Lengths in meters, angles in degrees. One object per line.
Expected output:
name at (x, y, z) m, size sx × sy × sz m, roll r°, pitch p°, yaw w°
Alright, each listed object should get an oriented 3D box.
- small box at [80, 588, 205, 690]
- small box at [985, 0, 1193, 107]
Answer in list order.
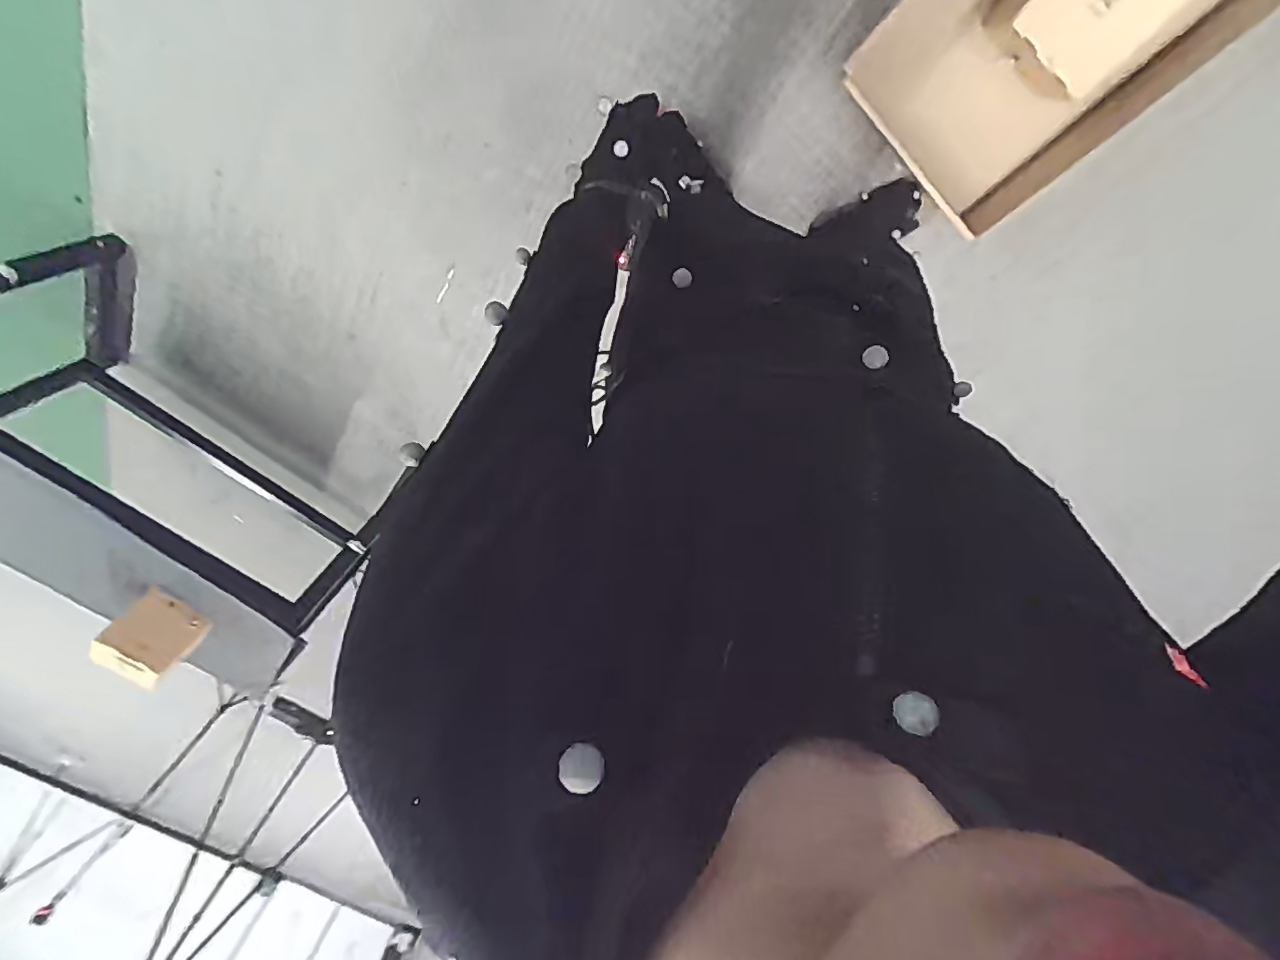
small box at (-1.283, 0.409, 1.404) m, size 0.168 × 0.176 × 0.179 m, roll 43°, pitch 127°, yaw -17°
small box at (0.680, -0.722, 0.833) m, size 0.168 × 0.176 × 0.179 m, roll 36°, pitch 128°, yaw -13°
